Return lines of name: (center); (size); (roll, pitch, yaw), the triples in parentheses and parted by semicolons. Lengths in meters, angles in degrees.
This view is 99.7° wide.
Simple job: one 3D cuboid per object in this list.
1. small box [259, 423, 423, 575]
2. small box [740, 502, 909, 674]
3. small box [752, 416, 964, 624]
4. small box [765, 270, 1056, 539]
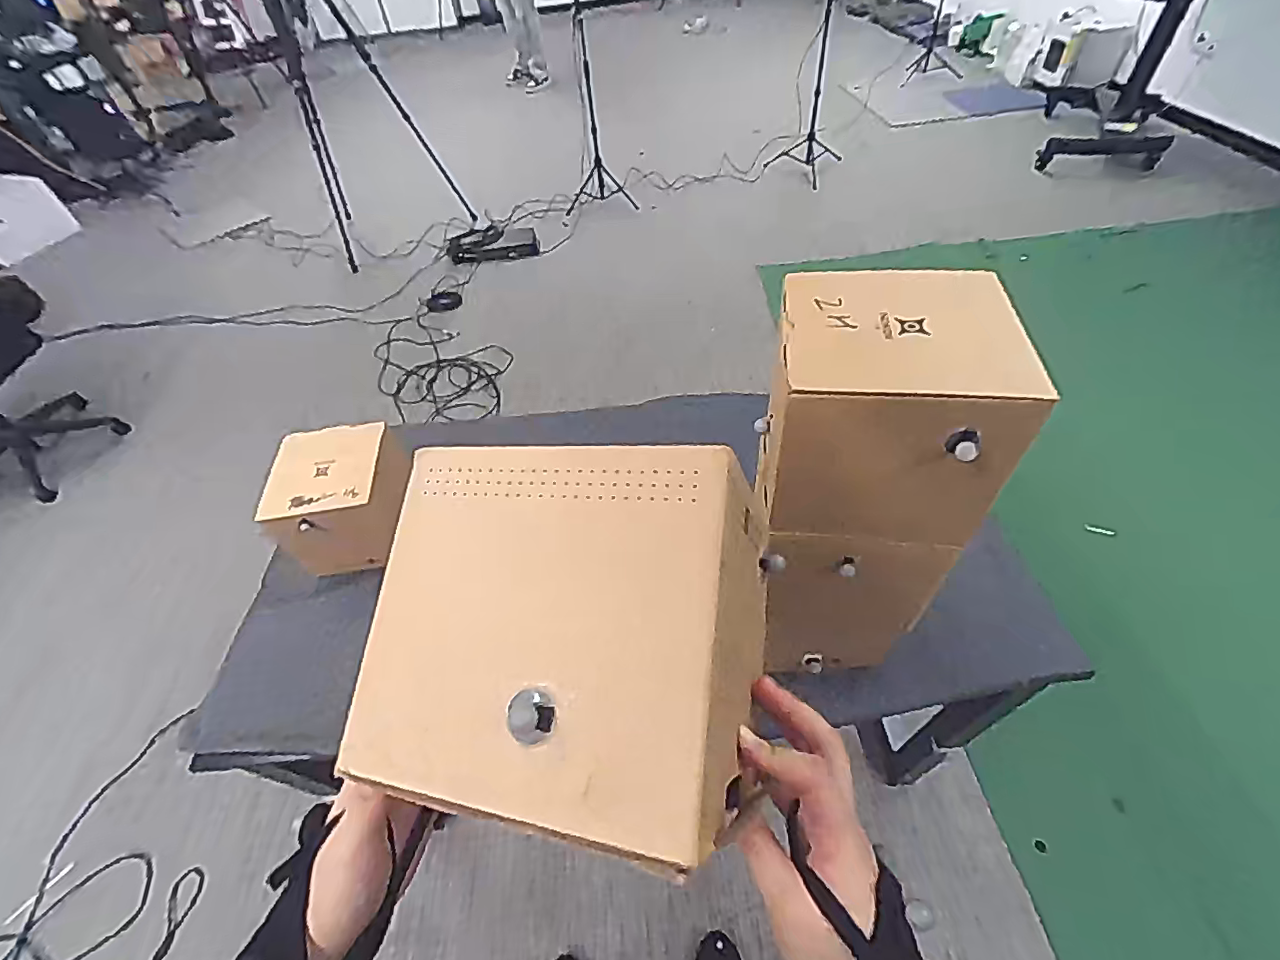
small box: (-0.476, 0.033, 0.897); (0.168, 0.176, 0.179); (-9, 51, -2)
small box: (0.232, 0.141, 0.730); (0.168, 0.176, 0.179); (-6, 49, 2)
small box: (0.219, 0.046, 0.598); (0.179, 0.176, 0.168); (2, 49, 10)
small box: (0.207, -0.063, 0.475); (0.179, 0.176, 0.168); (3, 49, 11)
